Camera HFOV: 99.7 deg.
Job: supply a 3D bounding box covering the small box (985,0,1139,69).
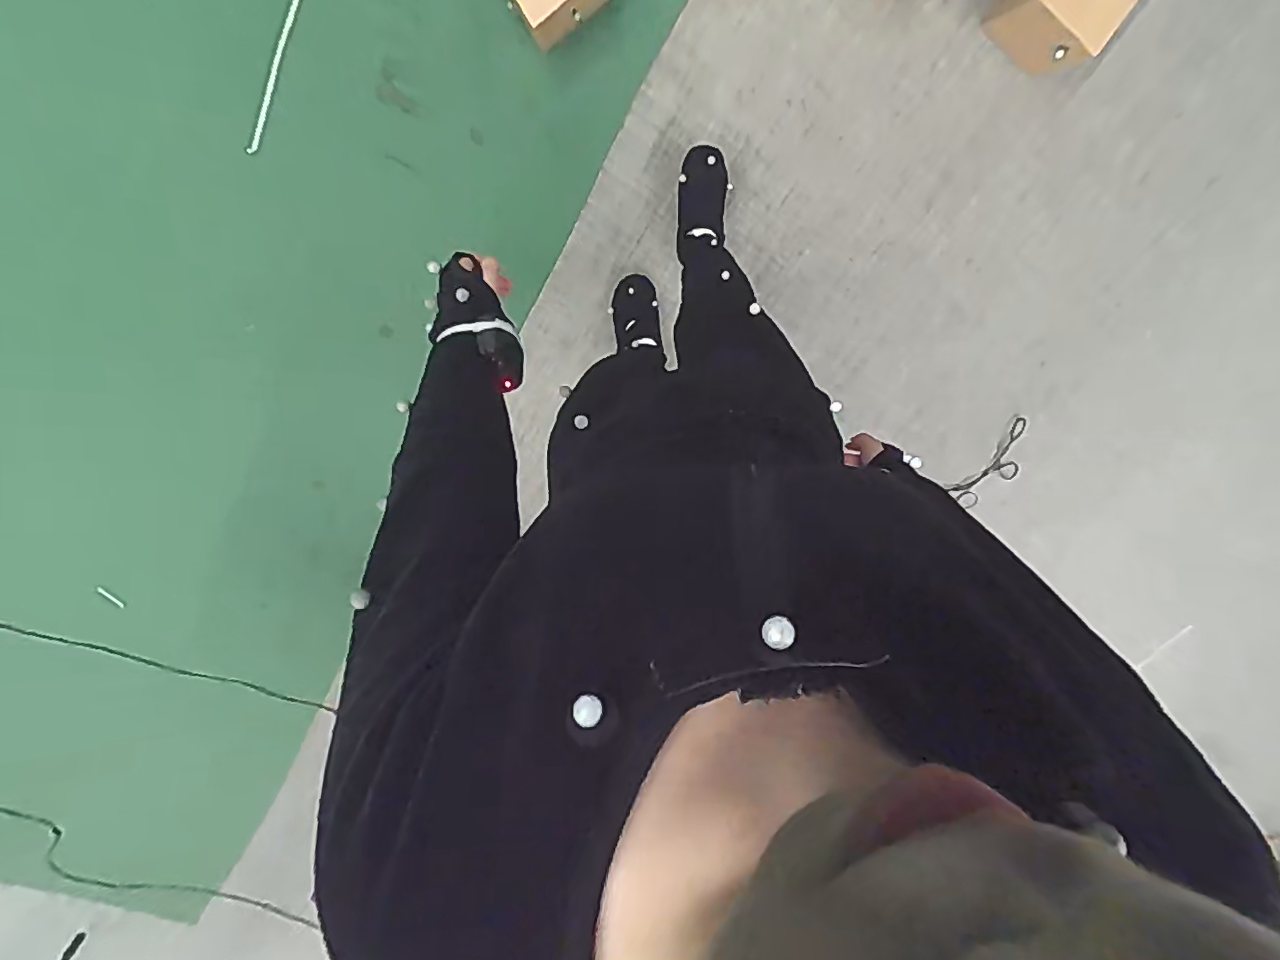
[{"bbox_3d":[0.831,-0.943,1.049,0.179,0.176,0.168,27,111,-16],"label":"small box"}]
